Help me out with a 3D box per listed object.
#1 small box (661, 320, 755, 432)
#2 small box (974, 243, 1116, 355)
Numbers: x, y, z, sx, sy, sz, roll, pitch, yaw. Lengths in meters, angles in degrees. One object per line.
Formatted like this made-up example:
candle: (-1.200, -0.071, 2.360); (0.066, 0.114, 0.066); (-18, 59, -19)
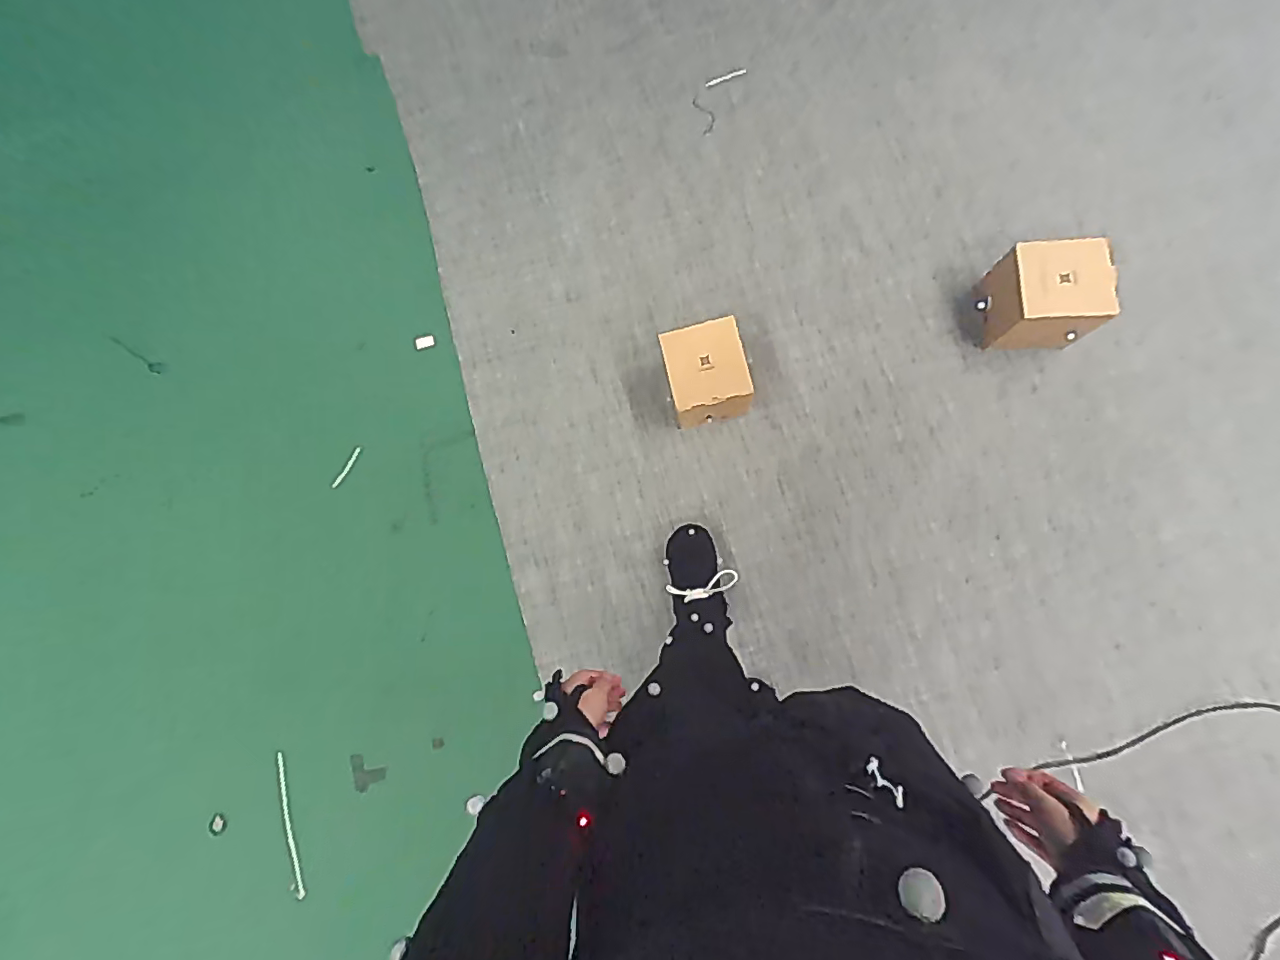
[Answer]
small box: (0.147, -0.225, 1.207); (0.168, 0.176, 0.179); (-14, 80, 4)
small box: (0.849, -0.377, 1.150); (0.179, 0.176, 0.168); (-2, 80, 7)
